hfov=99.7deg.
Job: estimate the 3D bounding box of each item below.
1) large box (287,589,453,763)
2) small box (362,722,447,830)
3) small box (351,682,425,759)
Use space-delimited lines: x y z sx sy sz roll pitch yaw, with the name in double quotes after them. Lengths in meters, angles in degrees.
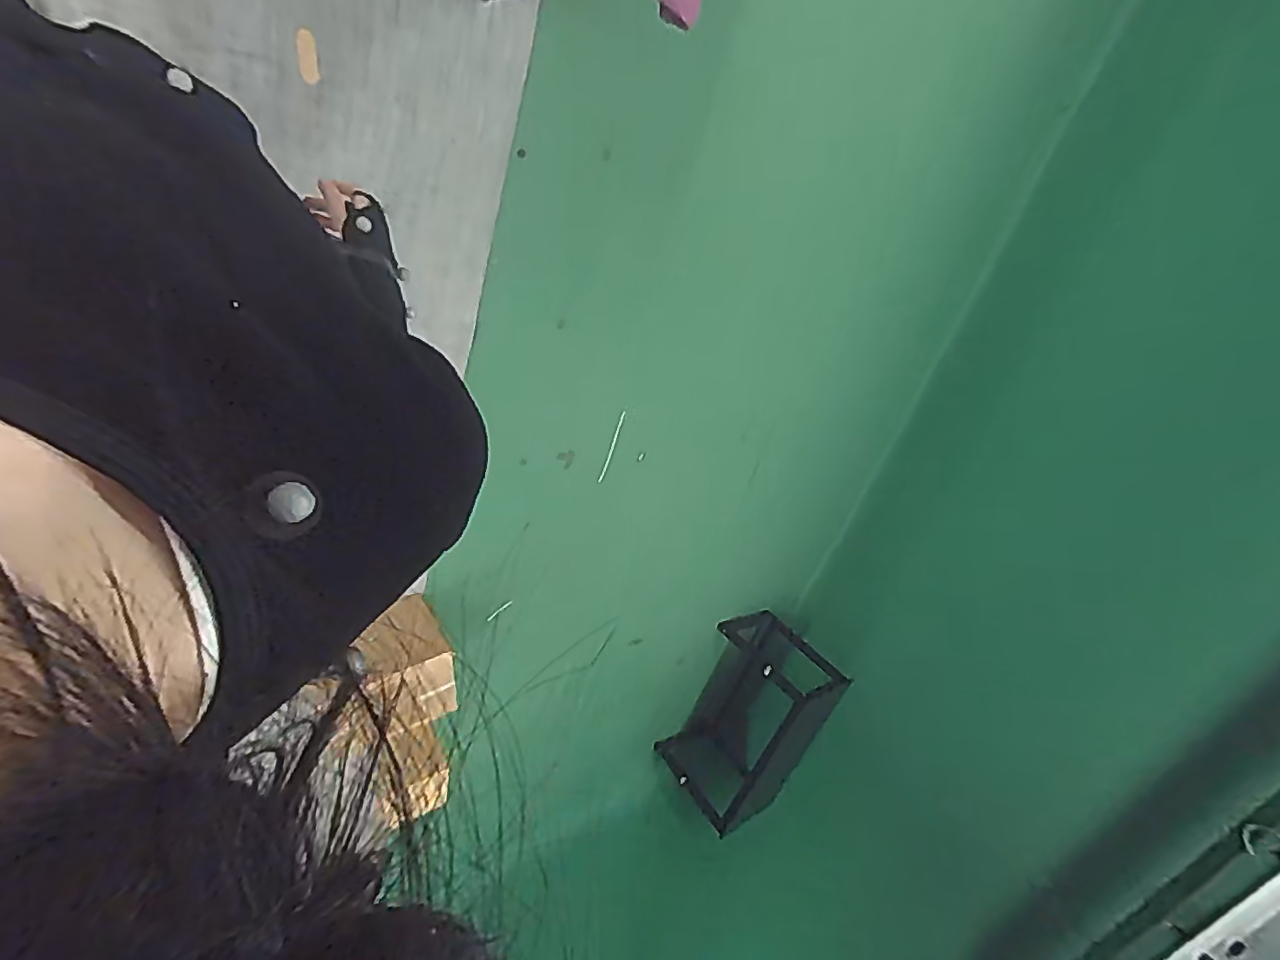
-0.888 0.632 1.804 0.408 0.320 0.320 -18 132 -35 "large box"
-0.663 0.819 1.516 0.179 0.176 0.168 -10 126 -38 "small box"
-0.756 0.733 1.618 0.168 0.176 0.179 -11 127 -37 "small box"
